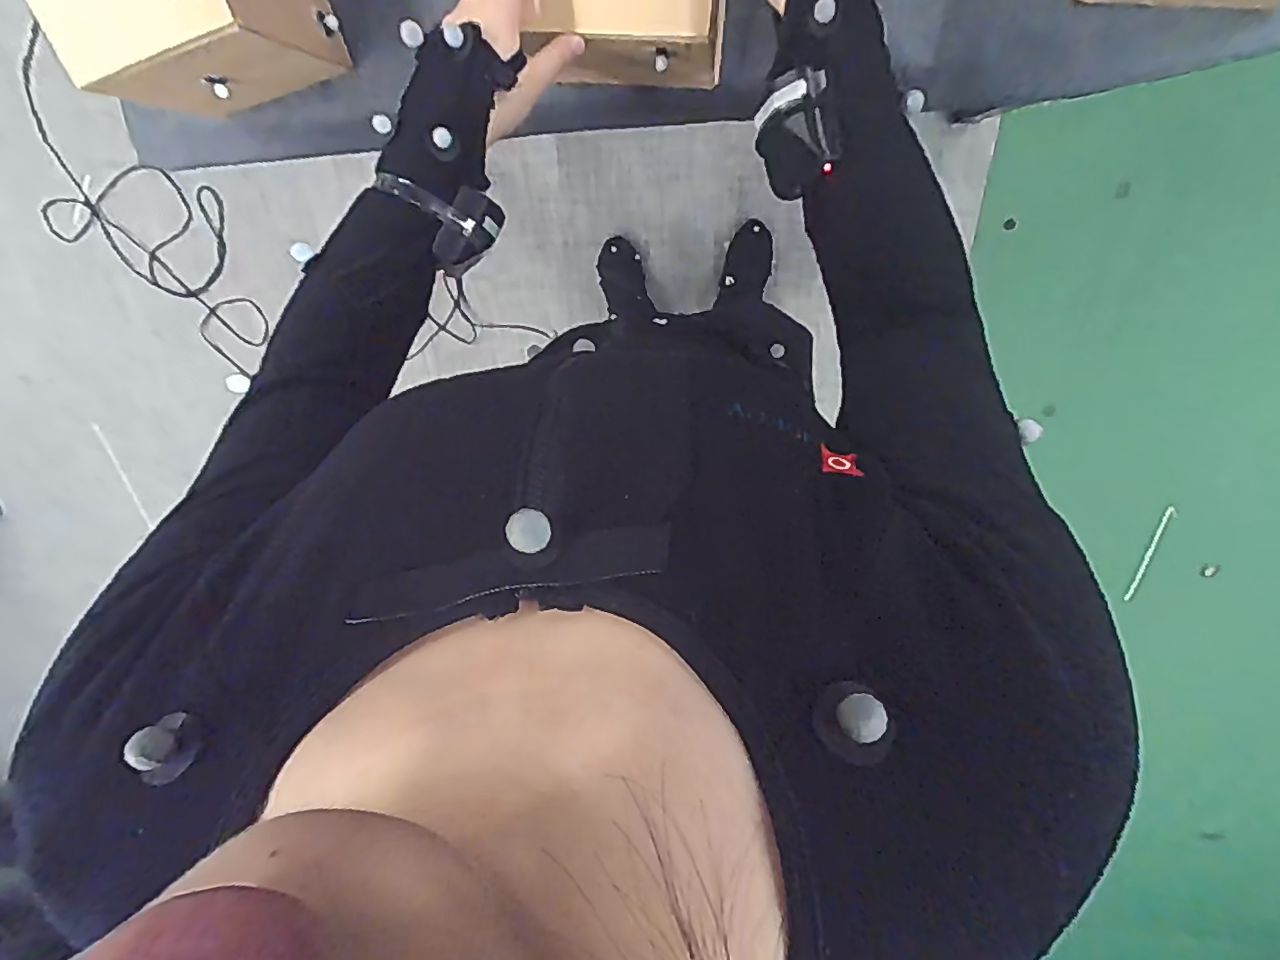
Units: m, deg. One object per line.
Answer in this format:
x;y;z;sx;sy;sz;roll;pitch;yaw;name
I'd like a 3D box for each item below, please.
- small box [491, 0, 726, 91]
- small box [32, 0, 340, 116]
-0.015;-0.444;0.454;0.179;0.176;0.168;6;117;5;small box
-0.414;-0.459;0.495;0.179;0.176;0.168;-9;116;12;small box
